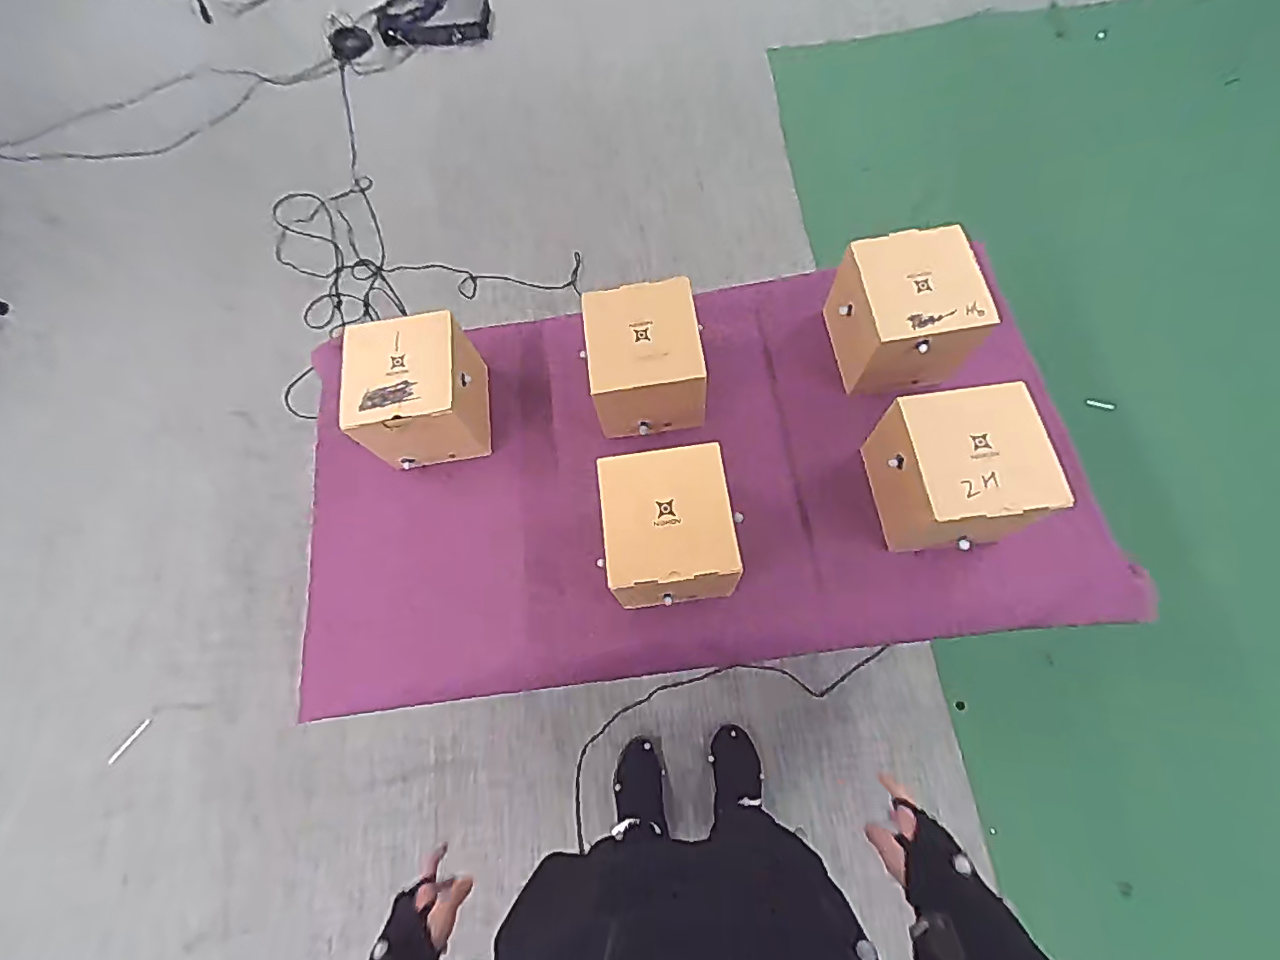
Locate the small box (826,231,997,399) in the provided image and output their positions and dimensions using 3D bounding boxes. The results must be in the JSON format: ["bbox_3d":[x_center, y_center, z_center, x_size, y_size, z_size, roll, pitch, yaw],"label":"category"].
[{"bbox_3d":[0.406,-0.250,0.846,0.168,0.176,0.179,-9,70,2],"label":"small box"}]

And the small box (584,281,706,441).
[{"bbox_3d":[0.009,-0.182,0.858,0.168,0.176,0.179,-8,70,3],"label":"small box"}]

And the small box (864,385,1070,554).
[{"bbox_3d":[0.432,-0.007,0.752,0.168,0.176,0.179,-7,68,4],"label":"small box"}]

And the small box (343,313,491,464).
[{"bbox_3d":[-0.346,-0.136,0.869,0.168,0.176,0.179,-9,69,1],"label":"small box"}]
